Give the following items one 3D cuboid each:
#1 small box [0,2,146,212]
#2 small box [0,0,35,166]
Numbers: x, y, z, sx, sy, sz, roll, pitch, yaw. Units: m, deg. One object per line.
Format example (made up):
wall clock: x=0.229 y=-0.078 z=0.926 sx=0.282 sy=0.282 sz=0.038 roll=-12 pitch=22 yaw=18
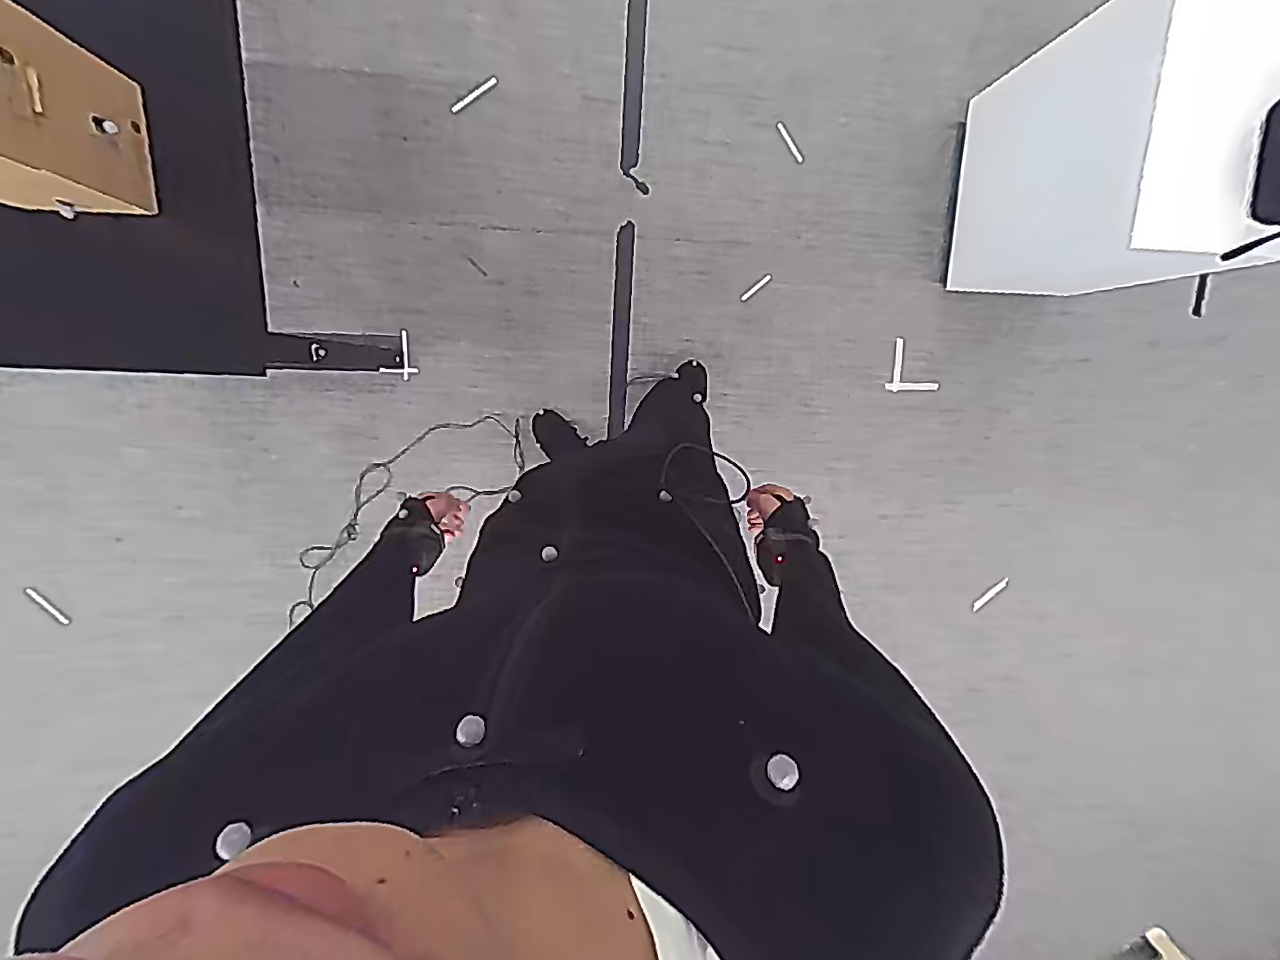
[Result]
small box: x=-0.746 y=-0.435 z=0.648 sx=0.179 sy=0.176 sz=0.168 roll=-1 pitch=101 yaw=-6
small box: x=-0.731 y=-0.404 z=0.487 sx=0.179 sy=0.176 sz=0.168 roll=0 pitch=102 yaw=-6
